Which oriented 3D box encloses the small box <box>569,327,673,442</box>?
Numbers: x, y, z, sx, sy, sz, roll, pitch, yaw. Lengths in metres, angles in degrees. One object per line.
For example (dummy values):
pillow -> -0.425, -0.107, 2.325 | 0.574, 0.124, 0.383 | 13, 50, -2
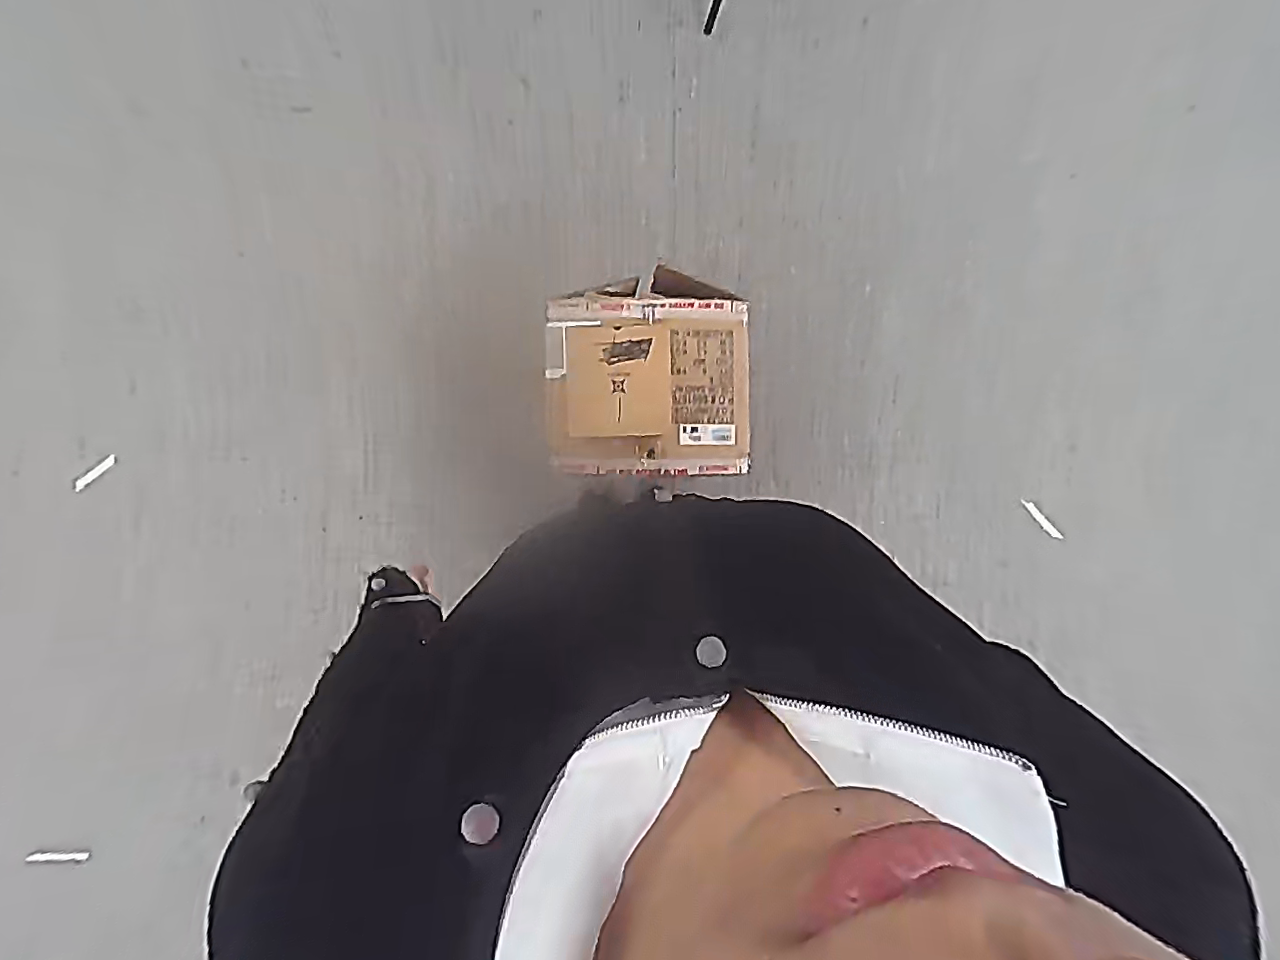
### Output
small box -> -0.034, -0.155, 0.924 | 0.168, 0.176, 0.179 | -1, 94, -2
